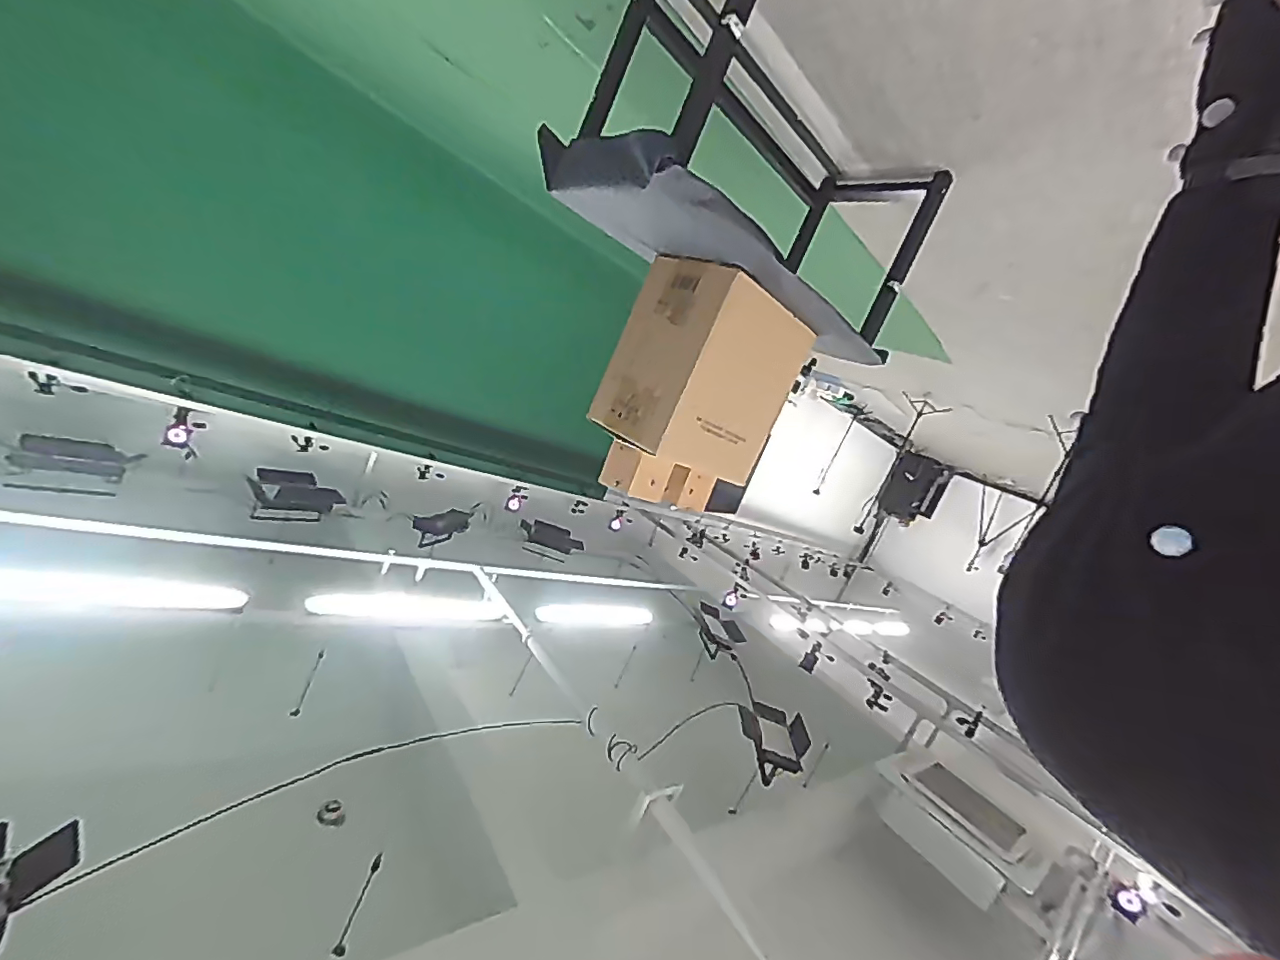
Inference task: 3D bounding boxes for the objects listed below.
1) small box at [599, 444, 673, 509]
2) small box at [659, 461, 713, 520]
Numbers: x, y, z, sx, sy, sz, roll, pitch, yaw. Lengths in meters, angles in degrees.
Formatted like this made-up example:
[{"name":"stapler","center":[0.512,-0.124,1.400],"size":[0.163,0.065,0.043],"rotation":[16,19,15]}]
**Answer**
[{"name":"small box","center":[-0.011,-0.014,1.945],"size":[0.179,0.176,0.168],"rotation":[16,-173,-45]},{"name":"small box","center":[0.165,0.039,2.125],"size":[0.168,0.176,0.179],"rotation":[19,-174,-44]}]
